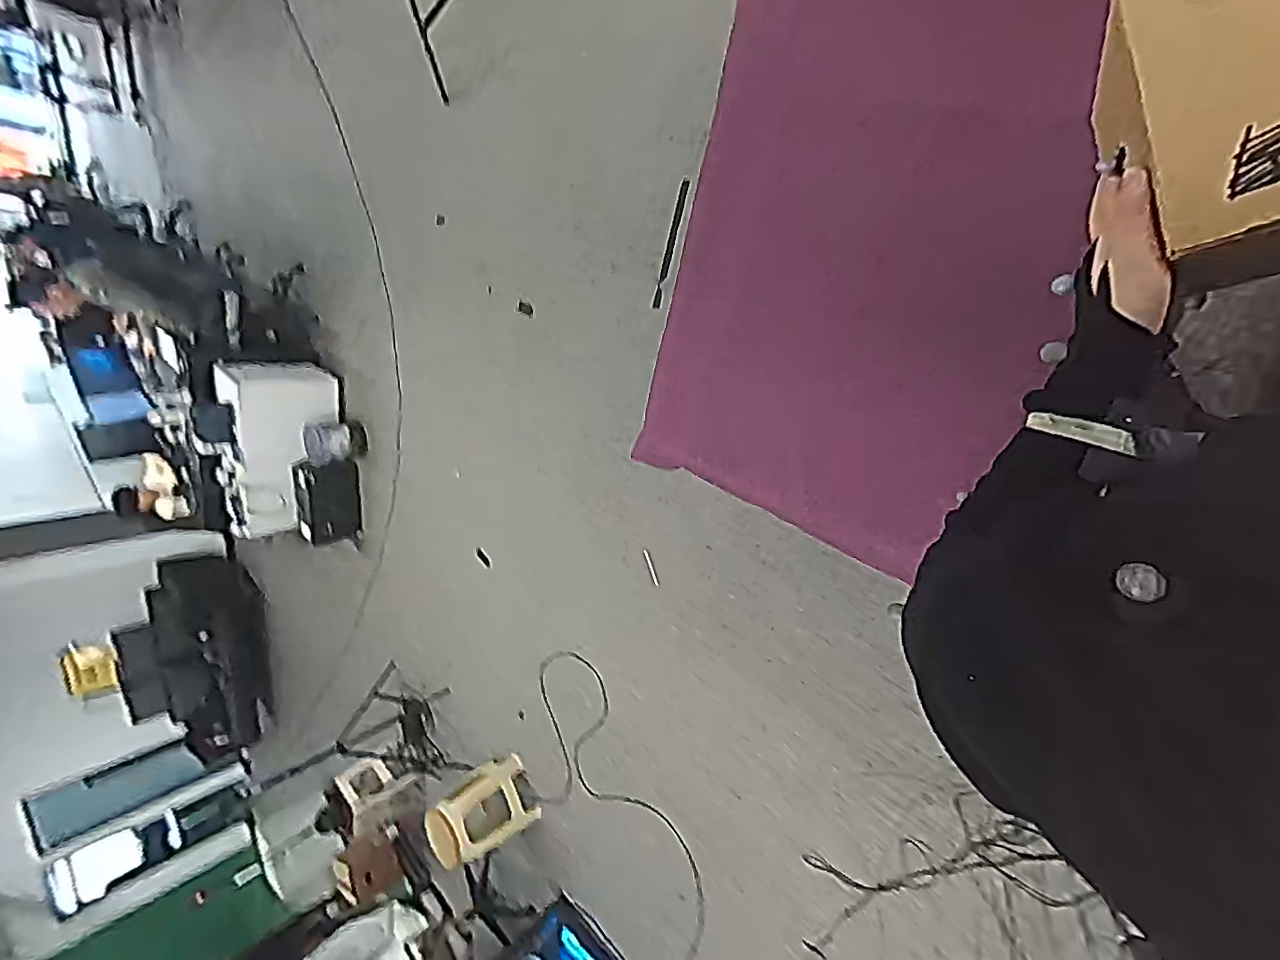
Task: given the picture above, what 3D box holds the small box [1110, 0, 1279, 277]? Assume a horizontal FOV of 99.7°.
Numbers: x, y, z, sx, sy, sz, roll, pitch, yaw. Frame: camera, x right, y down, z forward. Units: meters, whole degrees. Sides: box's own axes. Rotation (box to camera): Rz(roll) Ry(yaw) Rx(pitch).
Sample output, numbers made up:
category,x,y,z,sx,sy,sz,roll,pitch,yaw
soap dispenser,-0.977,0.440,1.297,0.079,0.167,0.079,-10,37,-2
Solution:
category,x,y,z,sx,sy,sz,roll,pitch,yaw
small box,0.417,-0.243,0.335,0.168,0.176,0.179,-10,87,37
